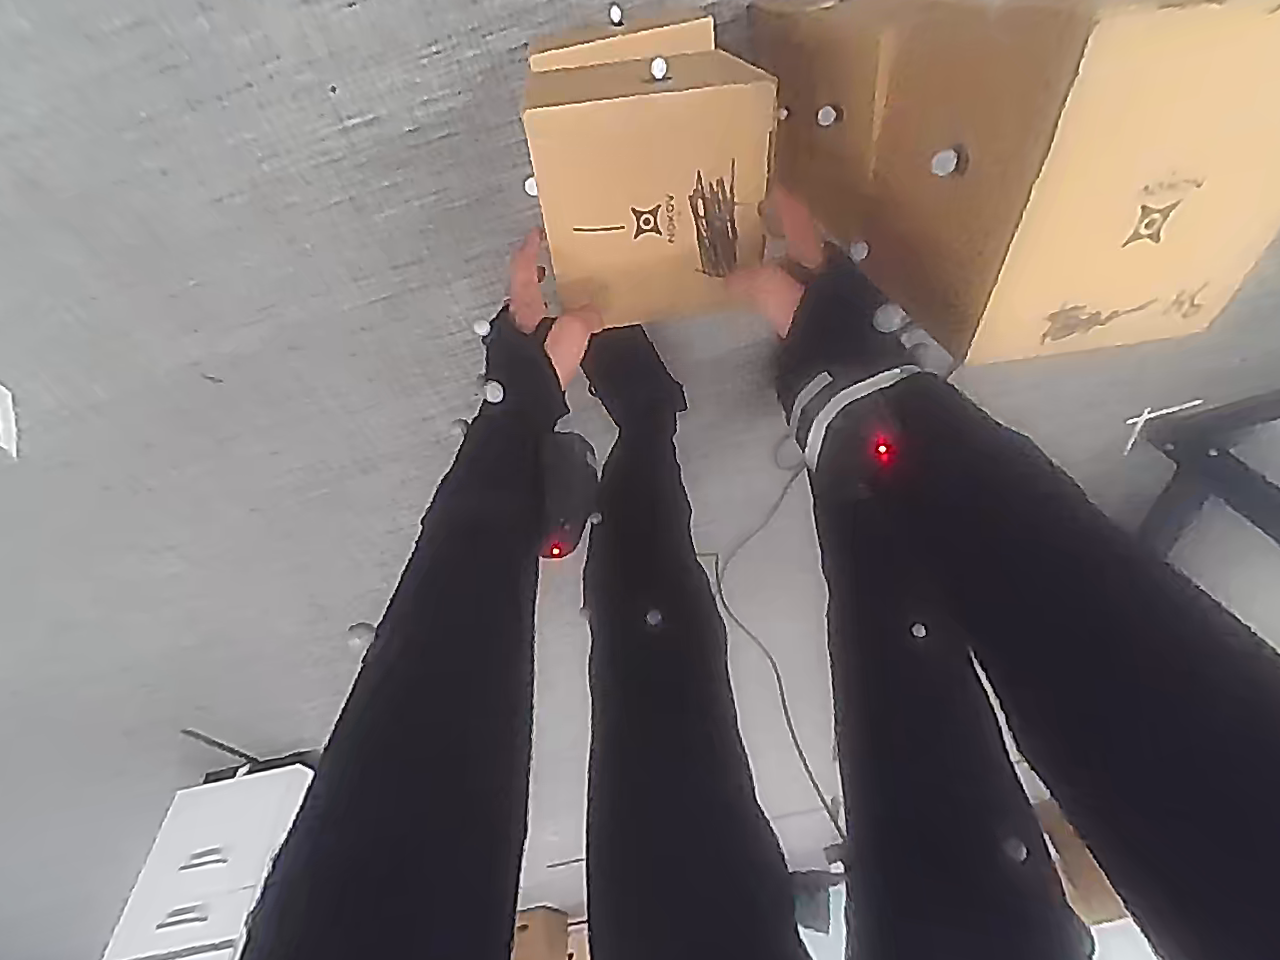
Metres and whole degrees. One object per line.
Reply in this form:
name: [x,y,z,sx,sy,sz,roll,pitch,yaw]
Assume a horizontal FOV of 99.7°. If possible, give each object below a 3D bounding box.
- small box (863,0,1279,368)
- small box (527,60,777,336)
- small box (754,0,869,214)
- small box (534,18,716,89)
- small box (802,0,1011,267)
small box: [0.268,-0.198,0.349,0.168,0.176,0.179,-8,132,-2]
small box: [0.004,-0.250,0.475,0.179,0.176,0.168,-8,134,-2]
small box: [0.228,-0.422,0.584,0.168,0.176,0.179,-14,134,4]
small box: [-0.013,-0.373,0.583,0.168,0.176,0.179,-11,134,1]
small box: [0.249,-0.311,0.467,0.179,0.176,0.168,-13,133,3]
